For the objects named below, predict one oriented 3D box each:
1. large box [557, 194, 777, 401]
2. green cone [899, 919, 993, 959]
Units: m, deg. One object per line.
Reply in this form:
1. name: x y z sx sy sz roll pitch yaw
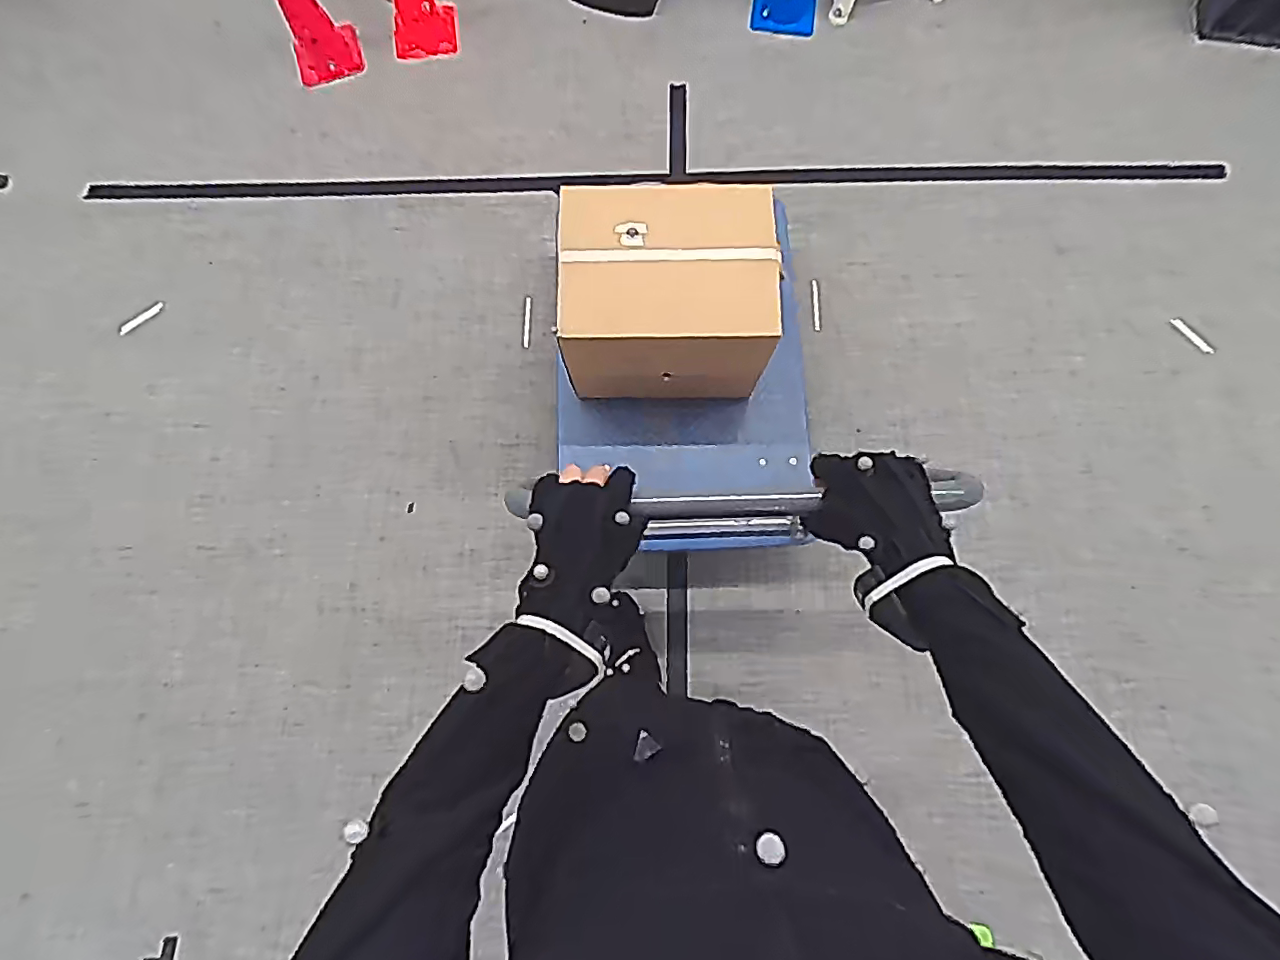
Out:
1. large box: 0.051 -0.363 1.148 0.408 0.320 0.320 -1 78 1
2. green cone: 0.652 1.013 0.978 0.202 0.368 0.200 4 77 0
